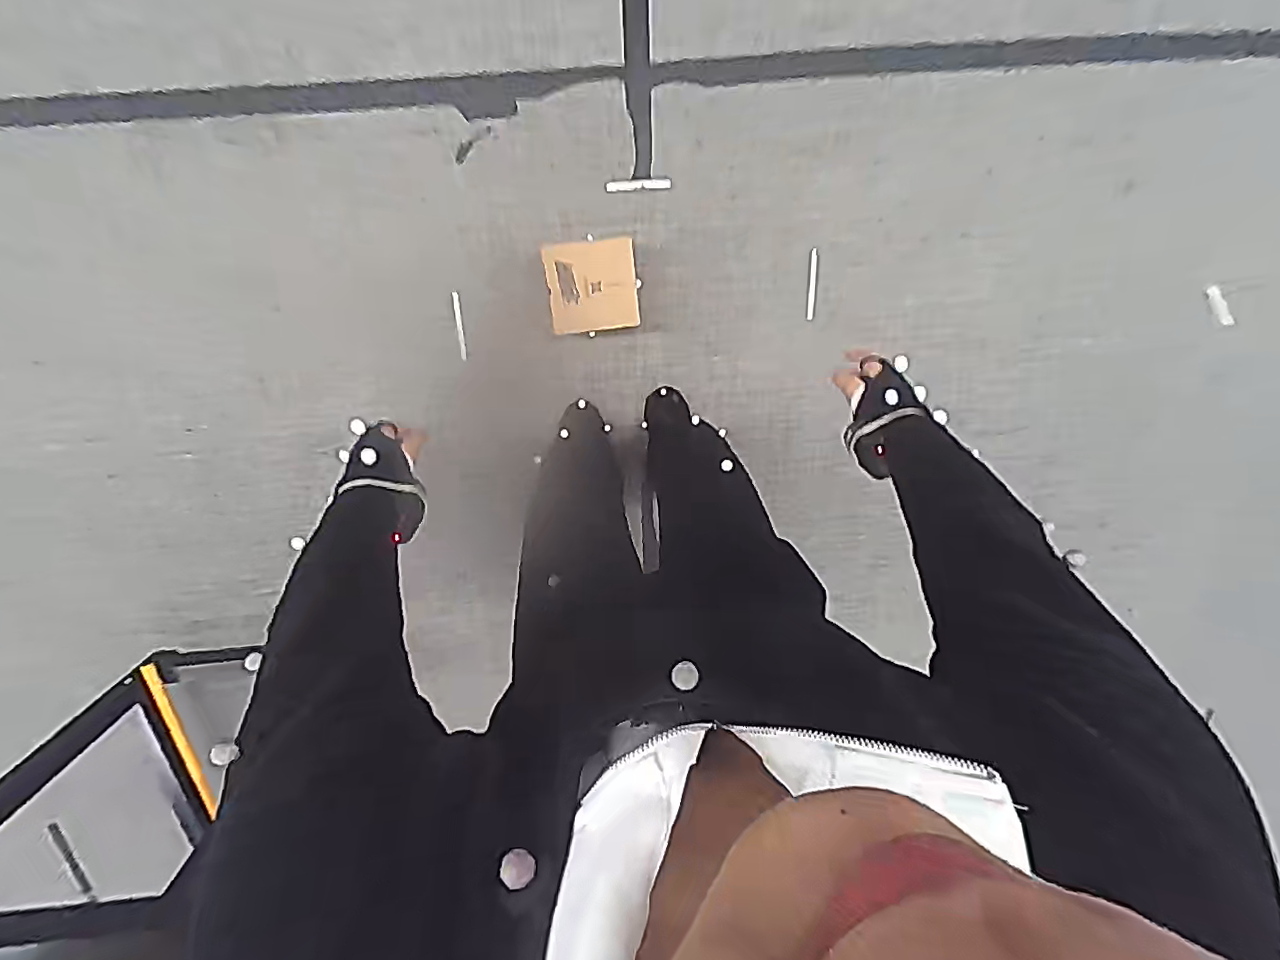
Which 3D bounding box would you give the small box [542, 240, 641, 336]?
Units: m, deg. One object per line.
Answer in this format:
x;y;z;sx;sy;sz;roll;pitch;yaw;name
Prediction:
-0.095;-0.396;1.121;0.179;0.176;0.168;-7;111;-2;small box
